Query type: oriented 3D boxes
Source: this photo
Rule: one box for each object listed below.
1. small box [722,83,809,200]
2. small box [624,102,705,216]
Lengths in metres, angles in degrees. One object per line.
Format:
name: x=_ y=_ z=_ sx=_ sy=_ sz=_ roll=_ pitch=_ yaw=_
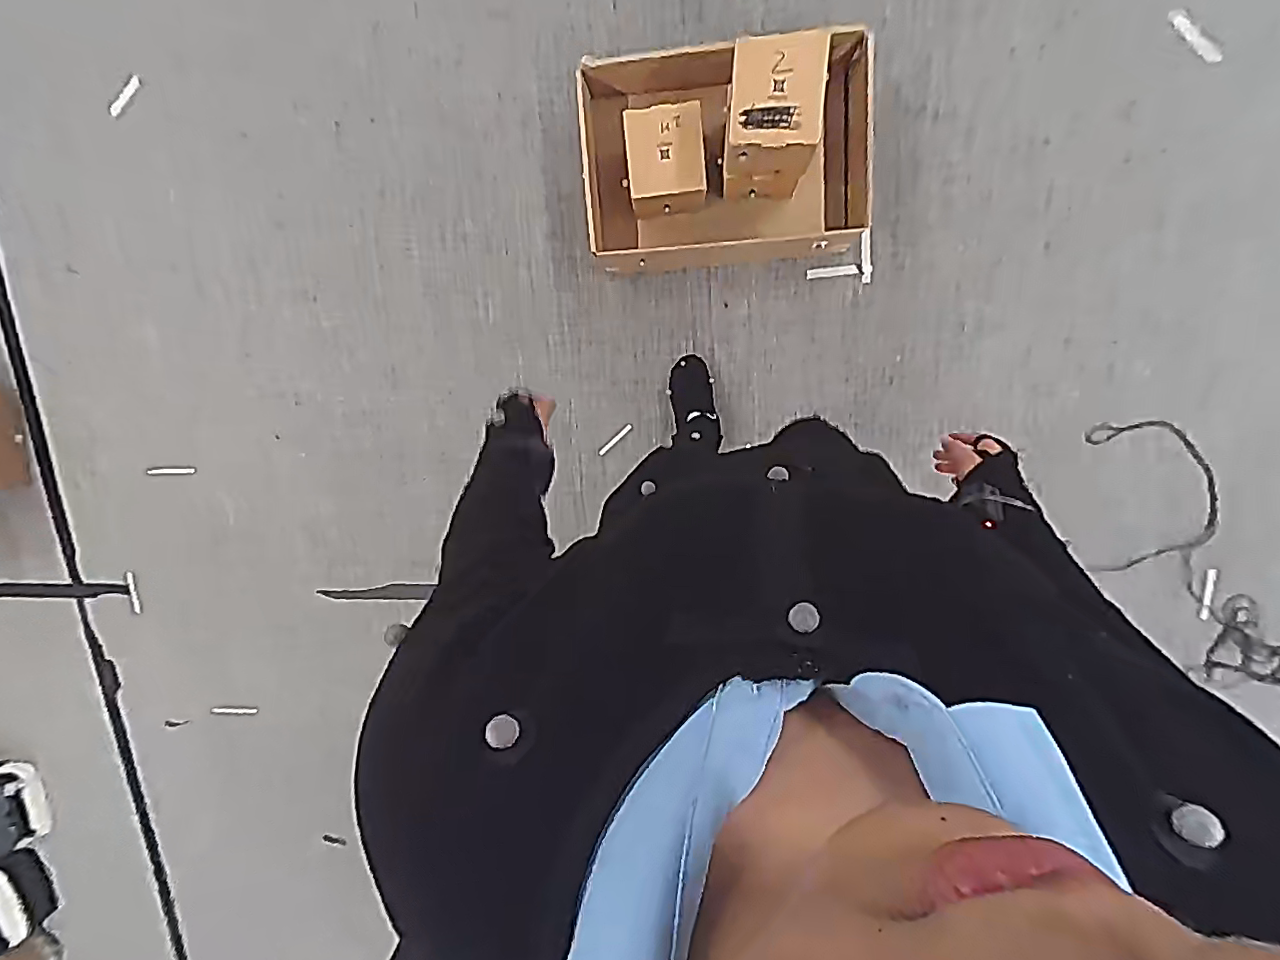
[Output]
small box: x=0.272 y=-0.743 z=1.203 sx=0.168 sy=0.176 sz=0.179 roll=2 pitch=102 yaw=7
small box: x=0.058 y=-0.714 z=1.225 sx=0.168 sy=0.176 sz=0.179 roll=-5 pitch=101 yaw=4
